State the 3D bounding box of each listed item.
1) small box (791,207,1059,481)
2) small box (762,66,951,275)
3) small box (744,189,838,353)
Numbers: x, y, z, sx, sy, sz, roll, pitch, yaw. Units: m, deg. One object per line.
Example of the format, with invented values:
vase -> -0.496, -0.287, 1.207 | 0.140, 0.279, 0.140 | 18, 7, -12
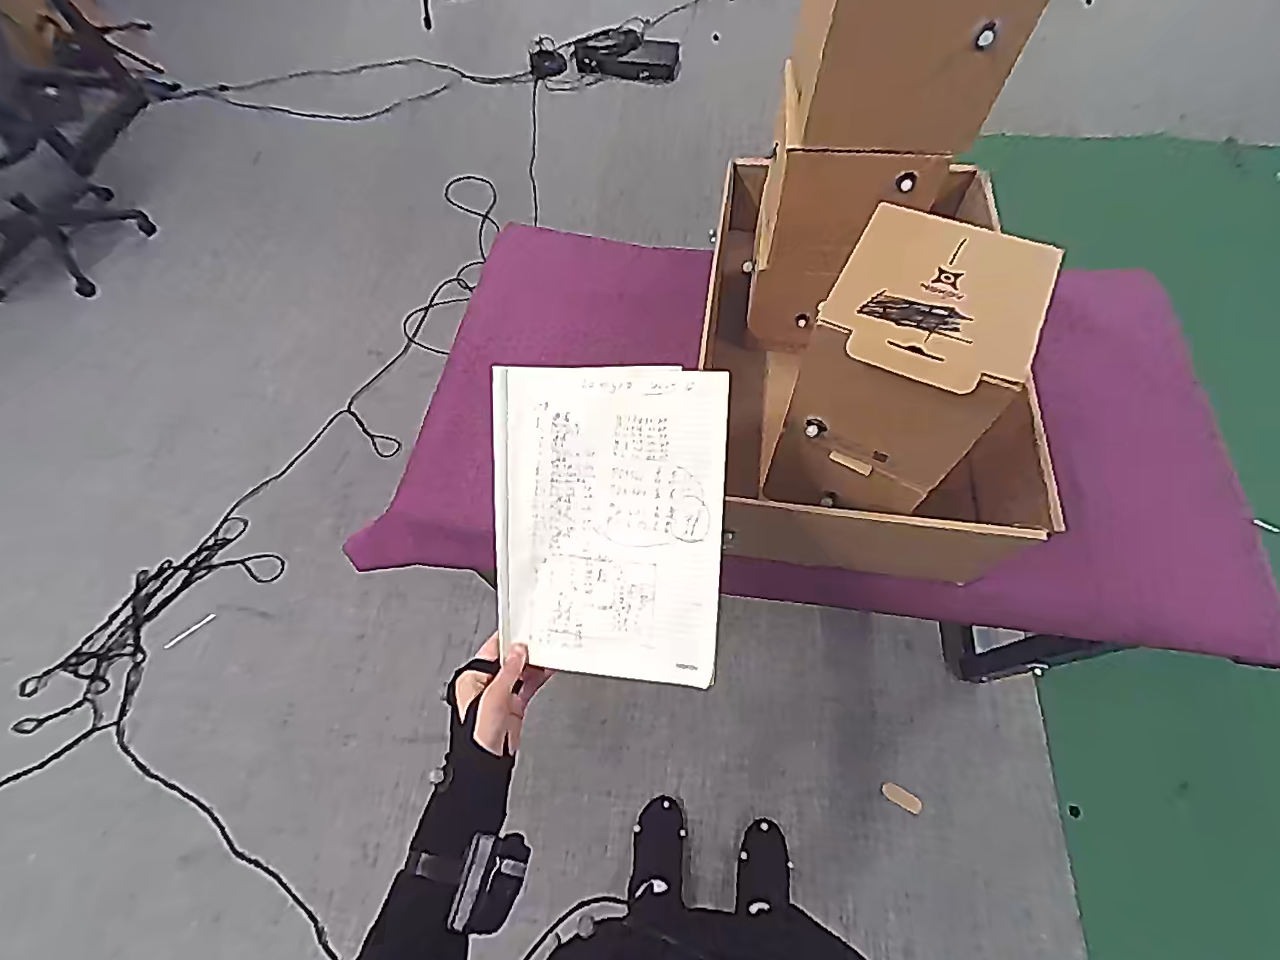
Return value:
small box -> 0.263, -0.127, 0.537 | 0.168, 0.176, 0.179 | 25, 65, 17
small box -> 0.250, -0.375, 0.672 | 0.179, 0.176, 0.168 | 4, 64, 5
small box -> 0.253, -0.307, 0.819 | 0.168, 0.176, 0.179 | 7, 65, 6
